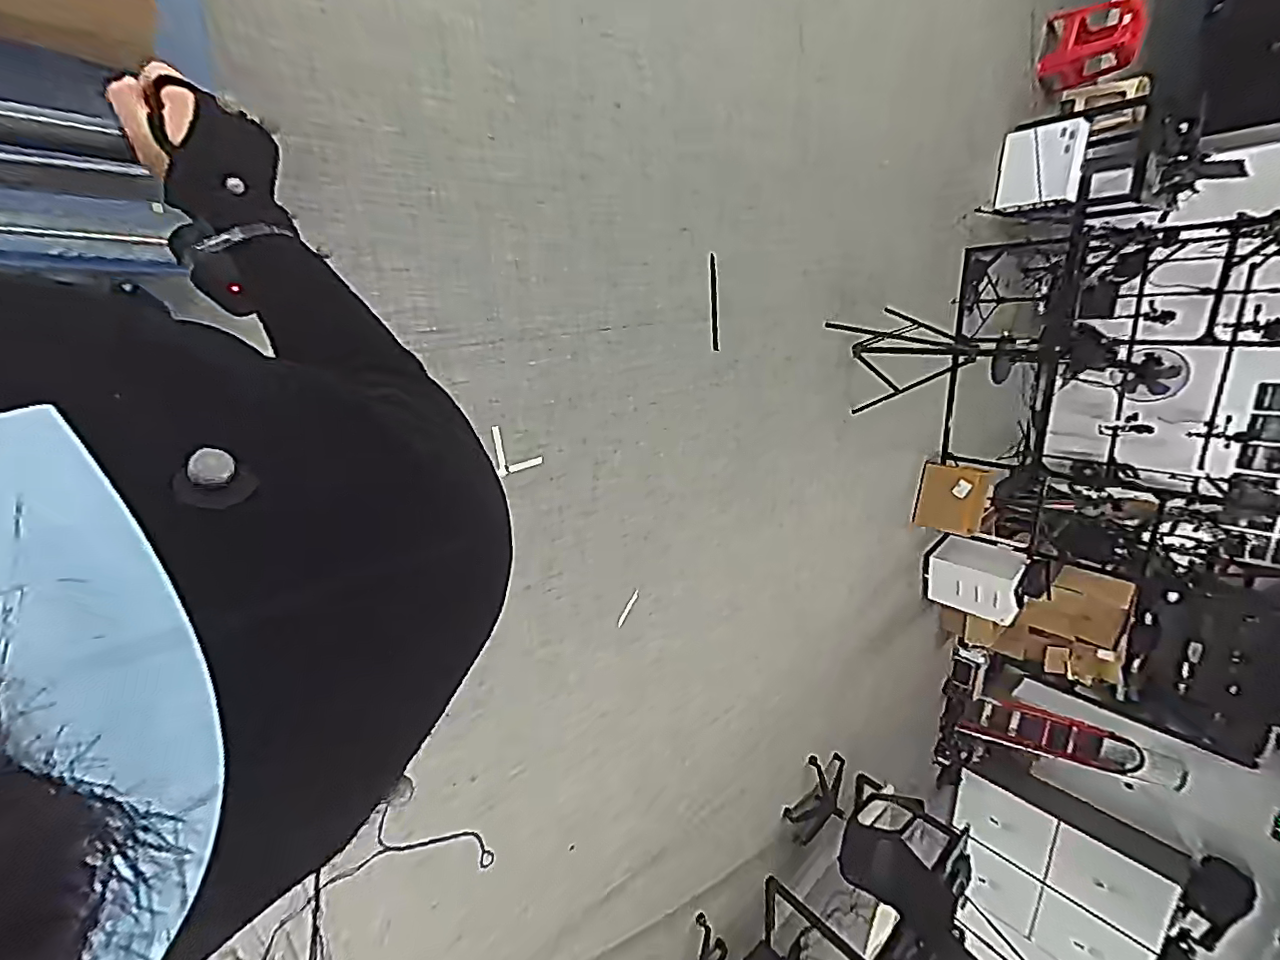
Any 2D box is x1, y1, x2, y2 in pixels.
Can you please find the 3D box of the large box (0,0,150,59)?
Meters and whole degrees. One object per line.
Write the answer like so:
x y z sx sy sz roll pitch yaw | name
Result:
-0.871 -0.774 0.629 0.408 0.320 0.320 -11 109 -39 | large box
